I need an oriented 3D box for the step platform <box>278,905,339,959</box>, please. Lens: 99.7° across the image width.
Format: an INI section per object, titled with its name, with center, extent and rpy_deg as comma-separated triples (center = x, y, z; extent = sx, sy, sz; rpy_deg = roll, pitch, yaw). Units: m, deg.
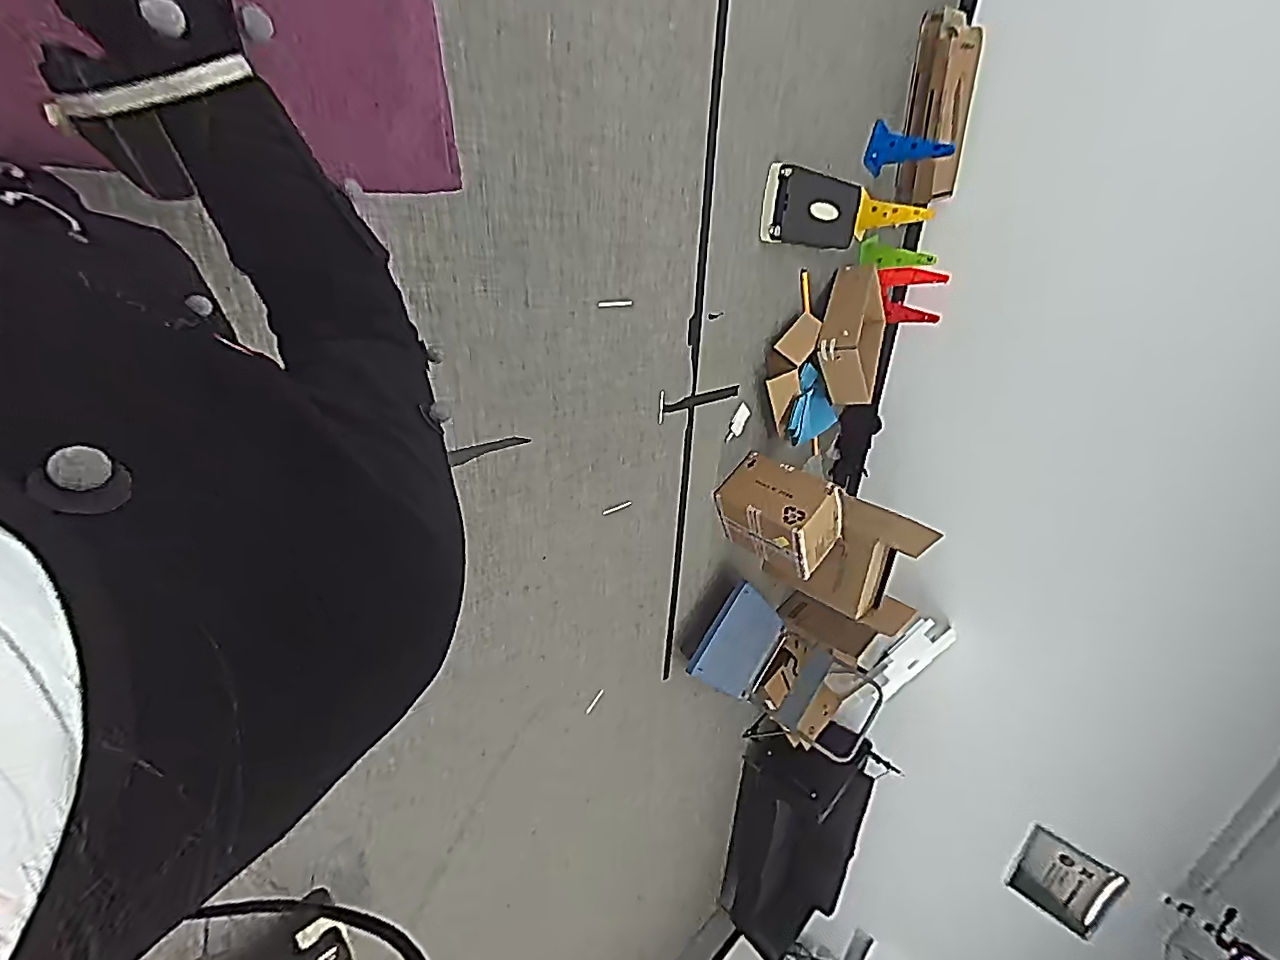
[step platform]
center = -1.238, 1.608, 1.540
extent = 0.684, 0.204, 0.286
rpy_deg = -22, 125, -42
